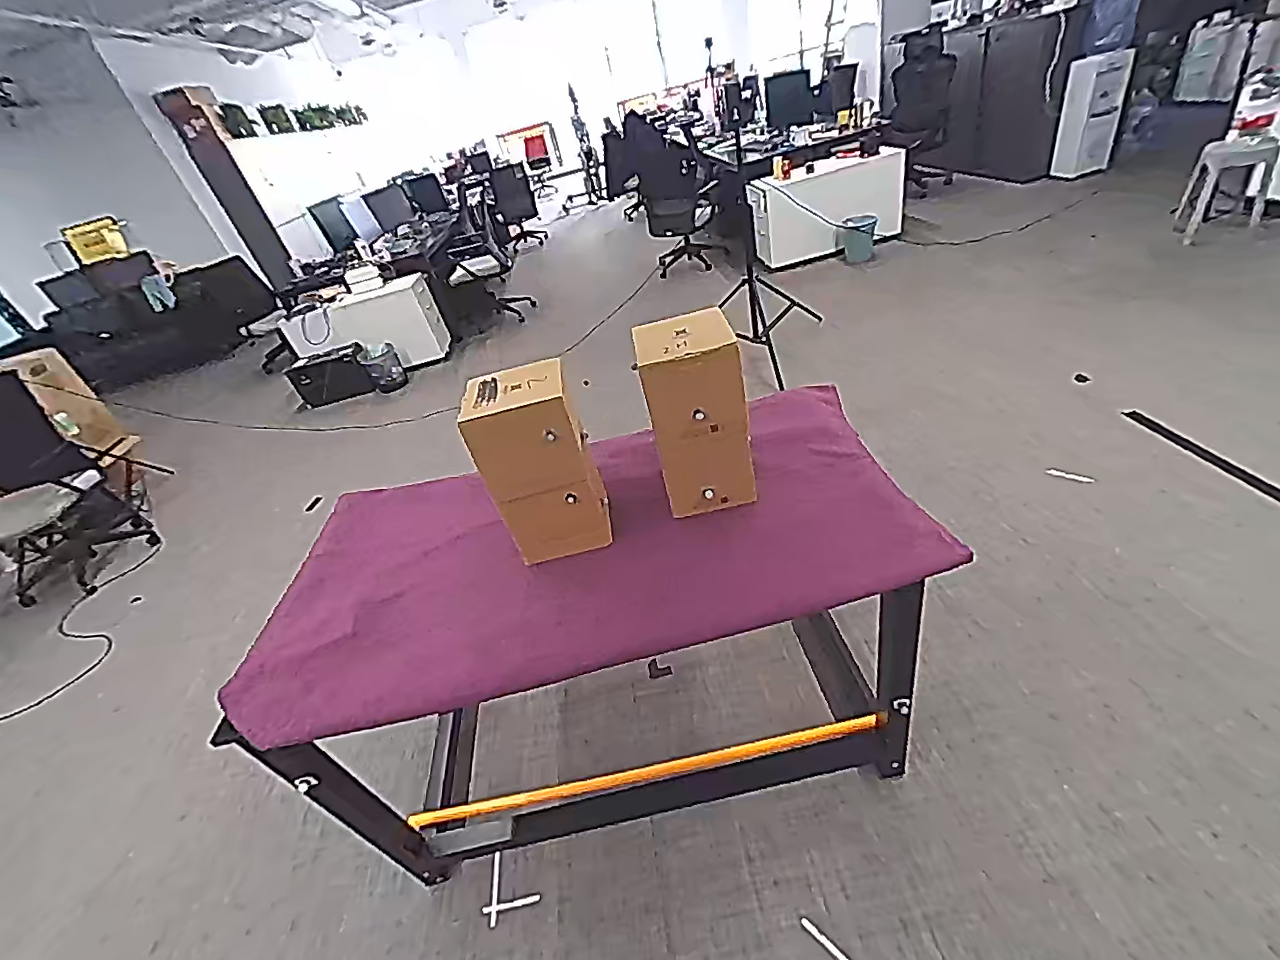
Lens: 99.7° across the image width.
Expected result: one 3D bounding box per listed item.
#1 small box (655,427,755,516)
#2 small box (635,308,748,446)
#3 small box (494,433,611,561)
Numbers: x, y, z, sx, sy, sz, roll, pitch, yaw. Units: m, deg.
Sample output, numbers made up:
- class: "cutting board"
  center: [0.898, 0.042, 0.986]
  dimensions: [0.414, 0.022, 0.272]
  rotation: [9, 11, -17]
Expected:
- class: "small box"
  center: [0.124, -0.055, 1.068]
  dimensions: [0.168, 0.176, 0.179]
  rotation: [-12, 36, 5]
- class: "small box"
  center: [0.090, -0.185, 0.971]
  dimensions: [0.168, 0.176, 0.179]
  rotation: [-13, 36, 5]
- class: "small box"
  center: [-0.165, 0.036, 1.059]
  dimensions: [0.179, 0.176, 0.168]
  rotation: [-14, 35, 2]
